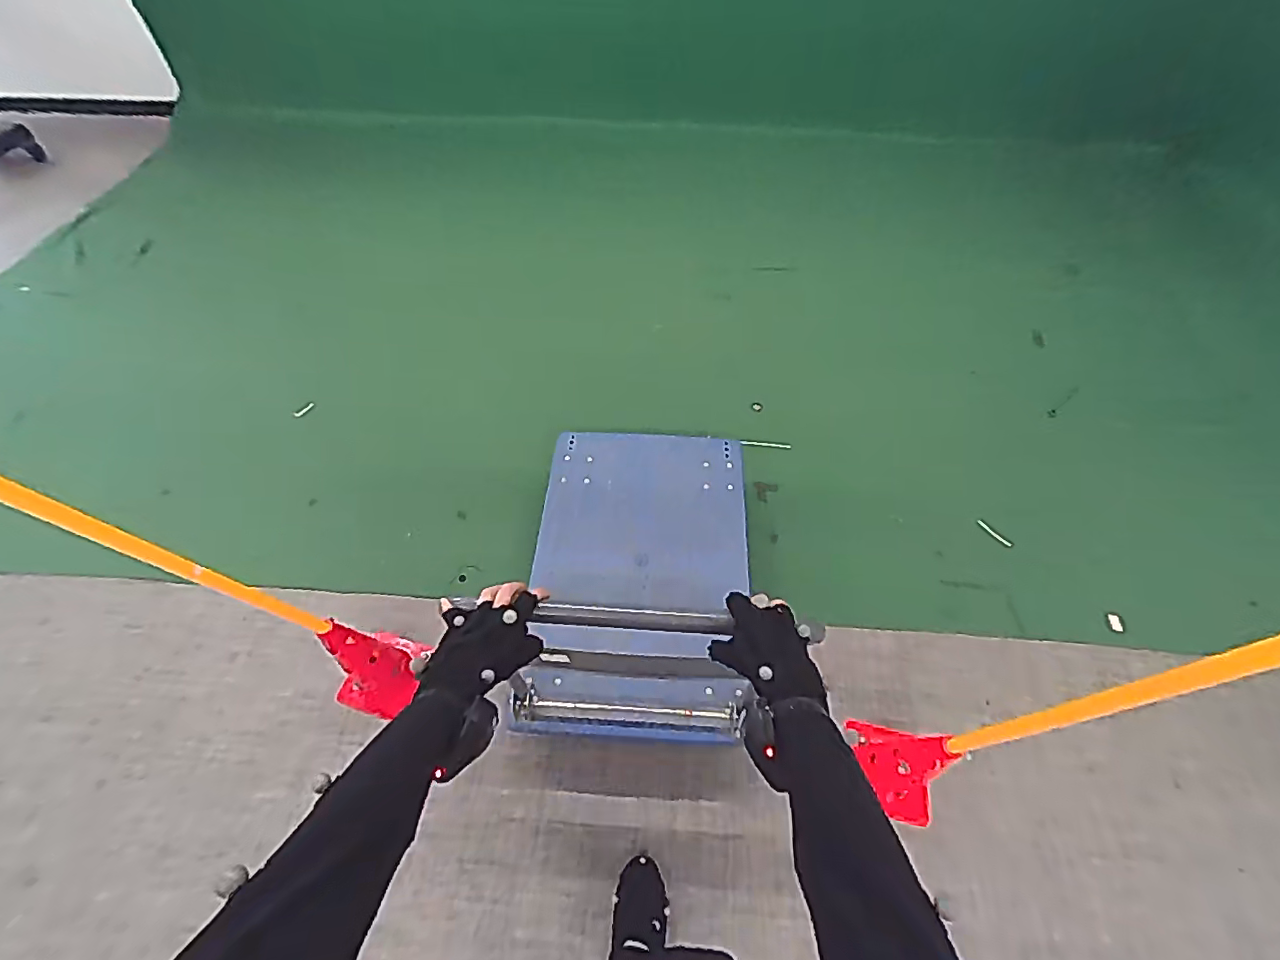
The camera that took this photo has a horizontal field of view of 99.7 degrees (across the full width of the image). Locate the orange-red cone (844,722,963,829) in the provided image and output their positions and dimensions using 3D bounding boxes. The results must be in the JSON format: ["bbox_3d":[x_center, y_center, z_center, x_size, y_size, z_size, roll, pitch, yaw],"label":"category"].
[{"bbox_3d":[0.597,0.610,1.167,0.198,0.360,0.199,12,56,9],"label":"orange-red cone"}]
